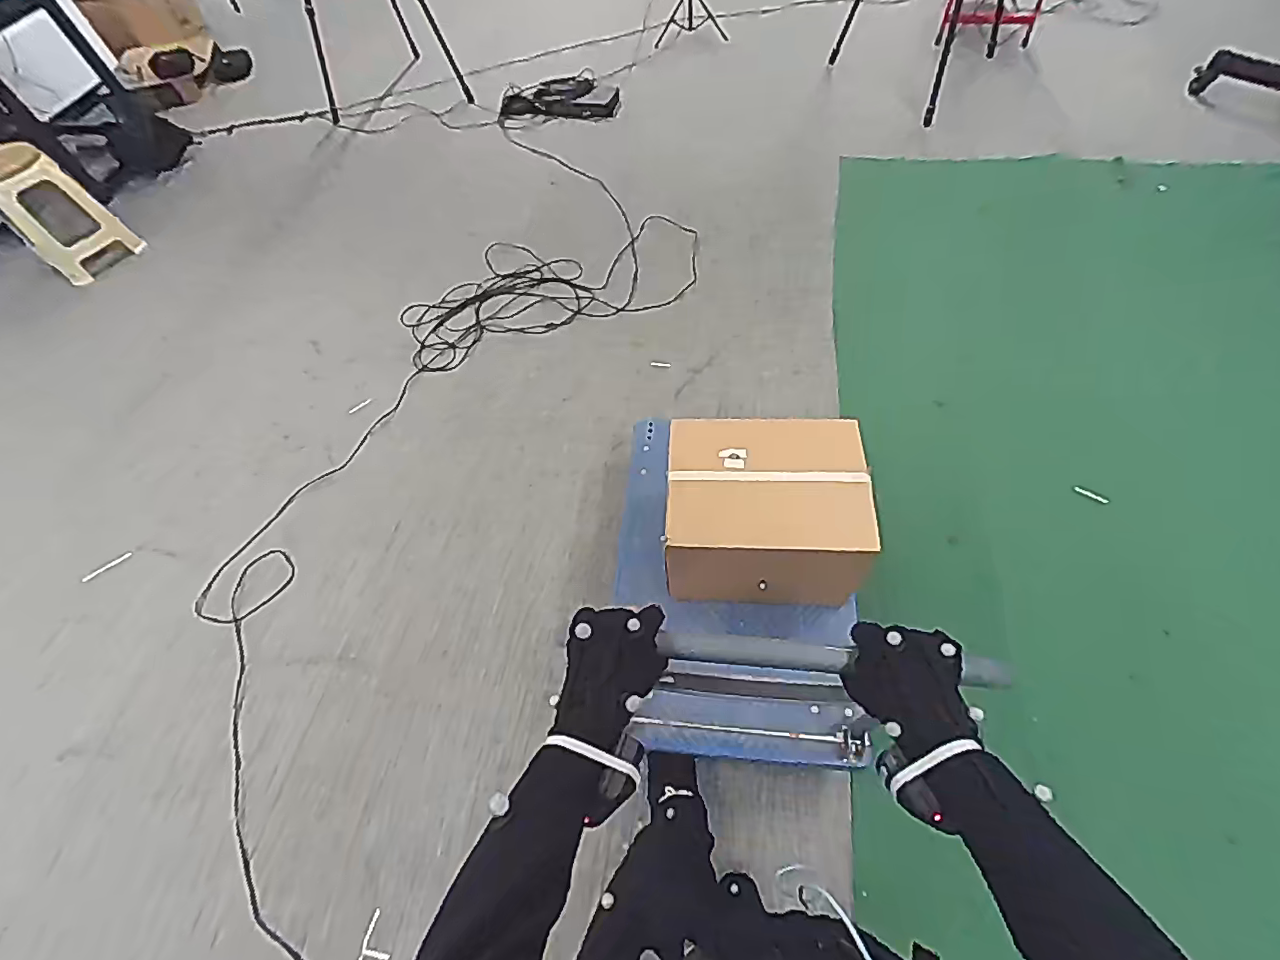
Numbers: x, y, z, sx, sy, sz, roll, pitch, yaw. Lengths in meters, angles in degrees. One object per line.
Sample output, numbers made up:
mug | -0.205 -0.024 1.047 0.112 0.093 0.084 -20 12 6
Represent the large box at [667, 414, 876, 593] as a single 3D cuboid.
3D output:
large box | 0.274 0.067 1.248 0.408 0.320 0.320 -1 59 7
